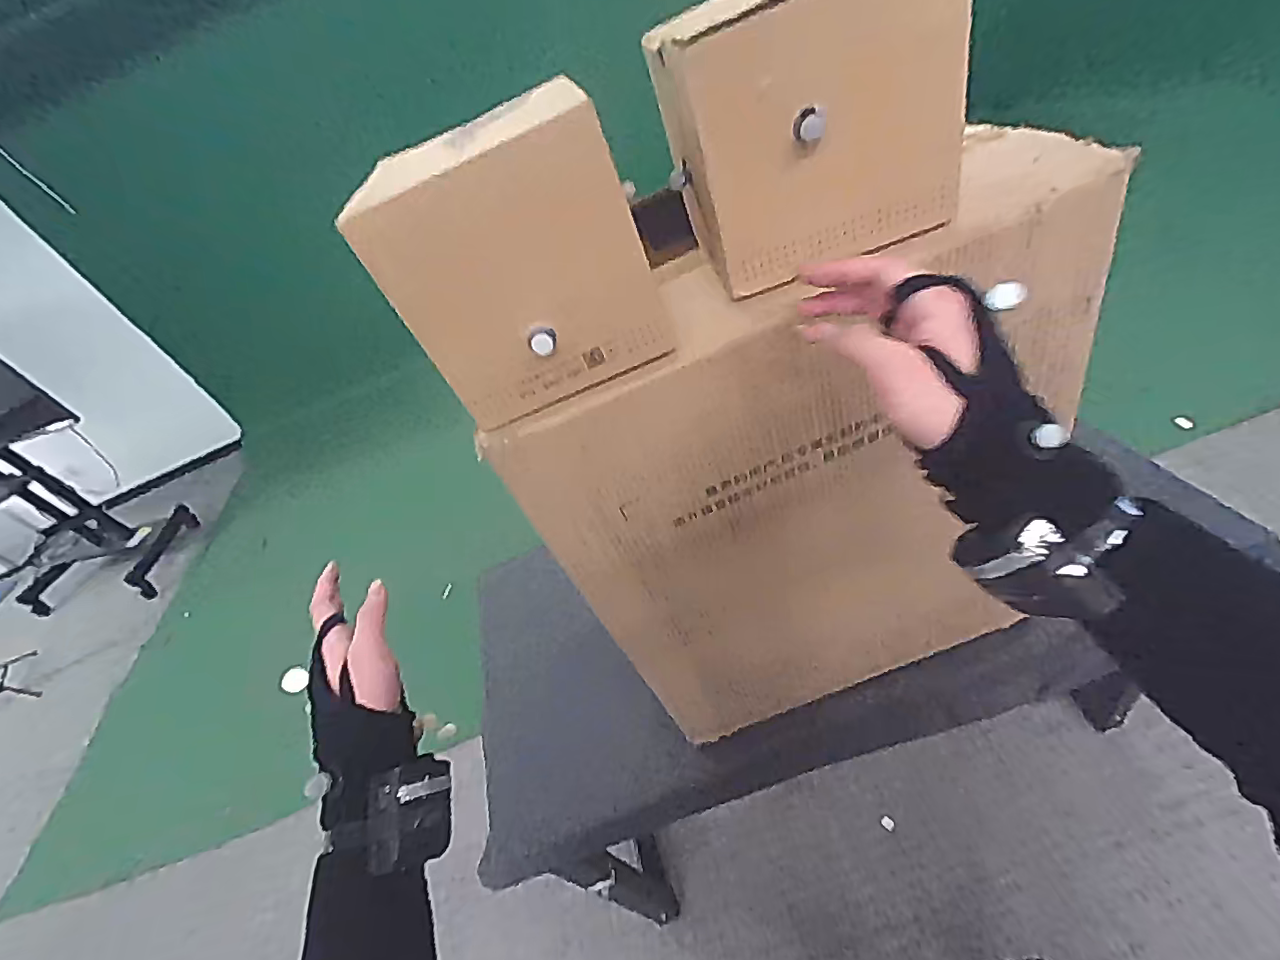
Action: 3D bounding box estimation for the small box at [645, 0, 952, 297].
[{"bbox_3d":[0.121,-0.271,0.424,0.179,0.176,0.168,-20,41,8],"label":"small box"}]
